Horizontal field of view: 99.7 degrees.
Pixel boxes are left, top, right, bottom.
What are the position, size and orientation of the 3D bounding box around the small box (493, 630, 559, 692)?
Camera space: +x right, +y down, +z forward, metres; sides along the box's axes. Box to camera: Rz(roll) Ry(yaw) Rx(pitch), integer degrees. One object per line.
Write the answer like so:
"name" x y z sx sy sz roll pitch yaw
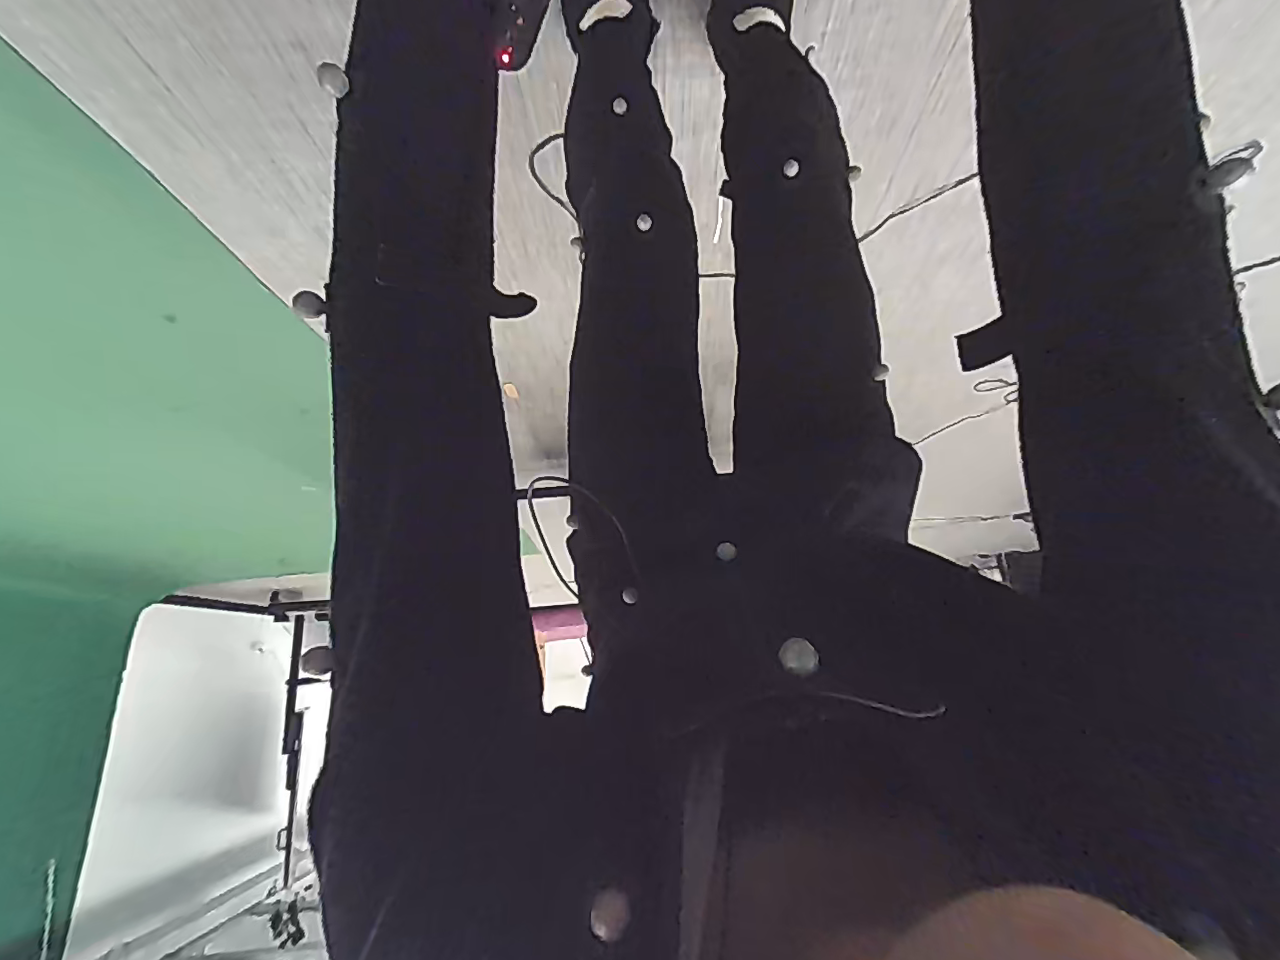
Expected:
"small box" -0.362 0.583 1.734 0.179 0.176 0.168 -7 160 2
